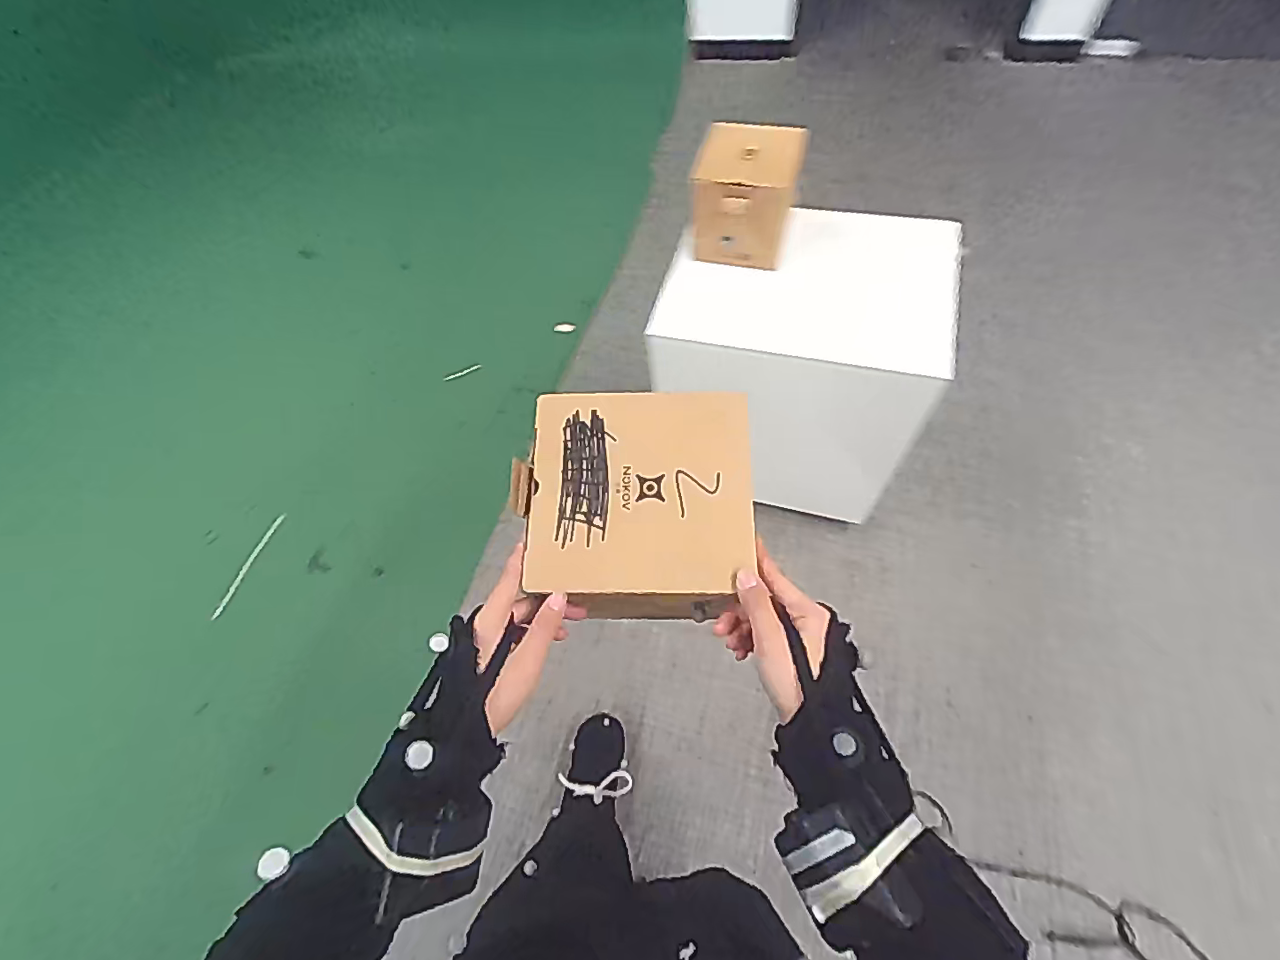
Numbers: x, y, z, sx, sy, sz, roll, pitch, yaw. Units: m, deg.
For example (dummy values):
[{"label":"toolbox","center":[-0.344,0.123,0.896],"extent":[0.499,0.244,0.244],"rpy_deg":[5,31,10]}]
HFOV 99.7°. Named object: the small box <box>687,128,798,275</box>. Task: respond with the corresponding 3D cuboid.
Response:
[{"label":"small box","center":[0.186,-0.518,1.012],"extent":[0.168,0.176,0.179],"rpy_deg":[12,64,12]}]
